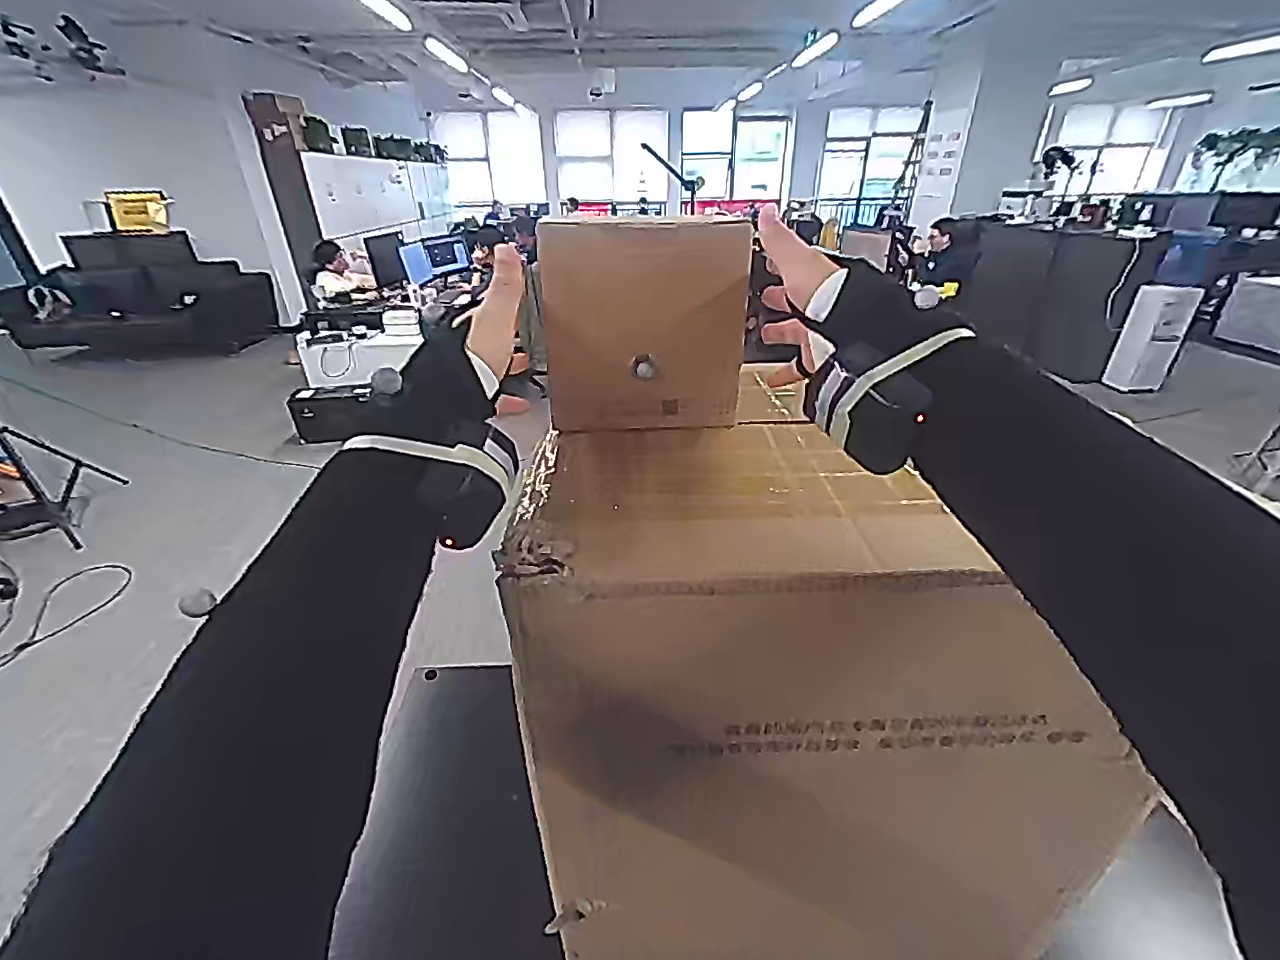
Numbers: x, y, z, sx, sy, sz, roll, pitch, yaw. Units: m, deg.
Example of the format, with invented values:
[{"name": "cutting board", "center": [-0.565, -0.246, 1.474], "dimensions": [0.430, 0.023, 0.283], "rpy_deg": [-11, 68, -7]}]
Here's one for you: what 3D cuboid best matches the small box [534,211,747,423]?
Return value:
[{"name": "small box", "center": [-0.004, -0.161, 0.516], "dimensions": [0.168, 0.176, 0.179], "rpy_deg": [-3, 27, -3]}]
